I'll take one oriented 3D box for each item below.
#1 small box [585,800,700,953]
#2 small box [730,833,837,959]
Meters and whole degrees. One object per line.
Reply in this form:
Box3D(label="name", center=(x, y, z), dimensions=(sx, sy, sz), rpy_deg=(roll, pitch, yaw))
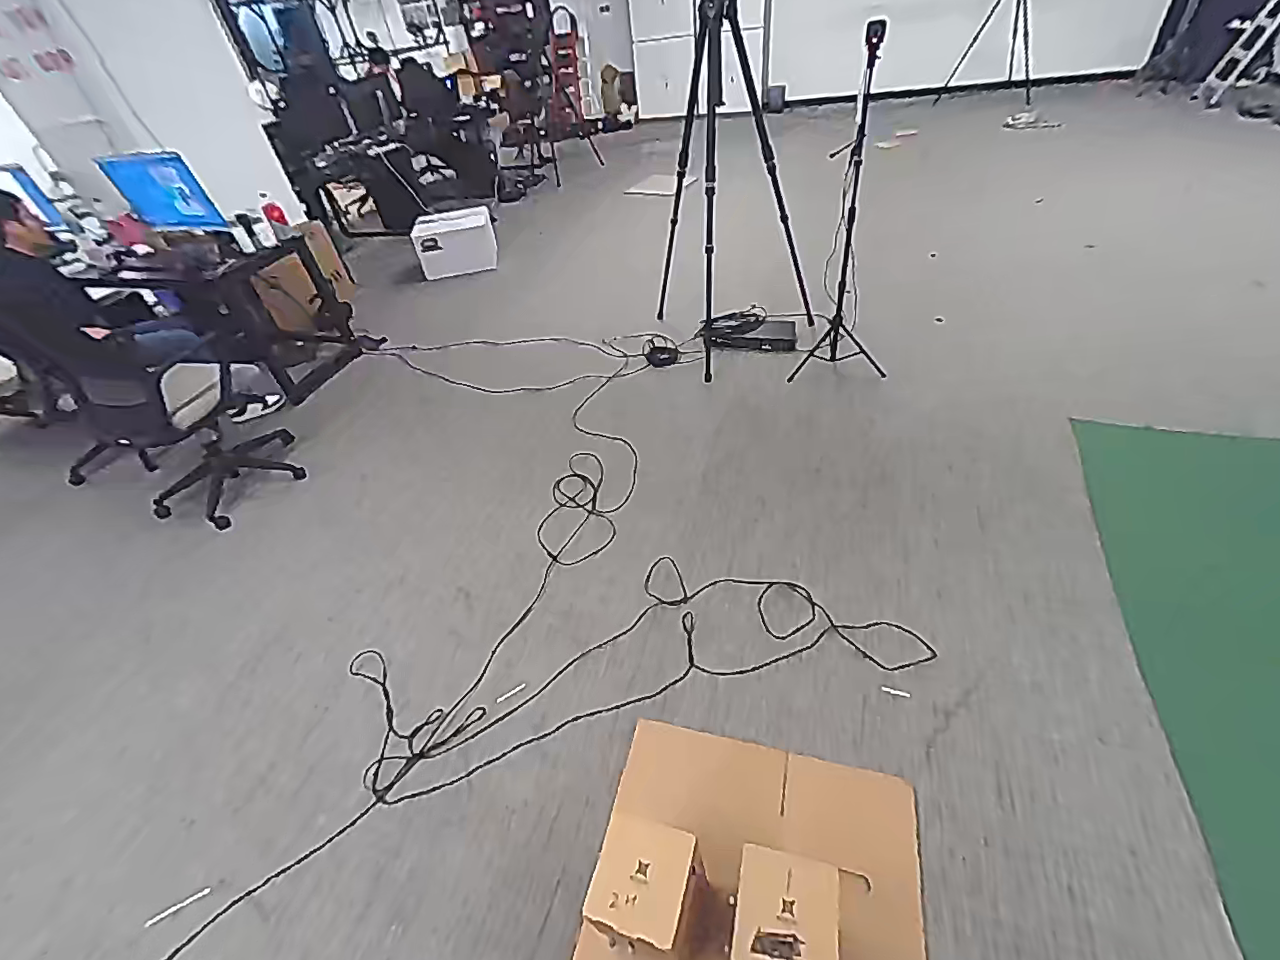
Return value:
Box3D(label="small box", center=(0.015, 0.749, 1.024), dimensions=(0.168, 0.176, 0.179), rpy_deg=(7, 46, 19))
Box3D(label="small box", center=(0.255, 0.769, 0.963), dimensions=(0.168, 0.176, 0.179), rpy_deg=(5, 45, 15))
